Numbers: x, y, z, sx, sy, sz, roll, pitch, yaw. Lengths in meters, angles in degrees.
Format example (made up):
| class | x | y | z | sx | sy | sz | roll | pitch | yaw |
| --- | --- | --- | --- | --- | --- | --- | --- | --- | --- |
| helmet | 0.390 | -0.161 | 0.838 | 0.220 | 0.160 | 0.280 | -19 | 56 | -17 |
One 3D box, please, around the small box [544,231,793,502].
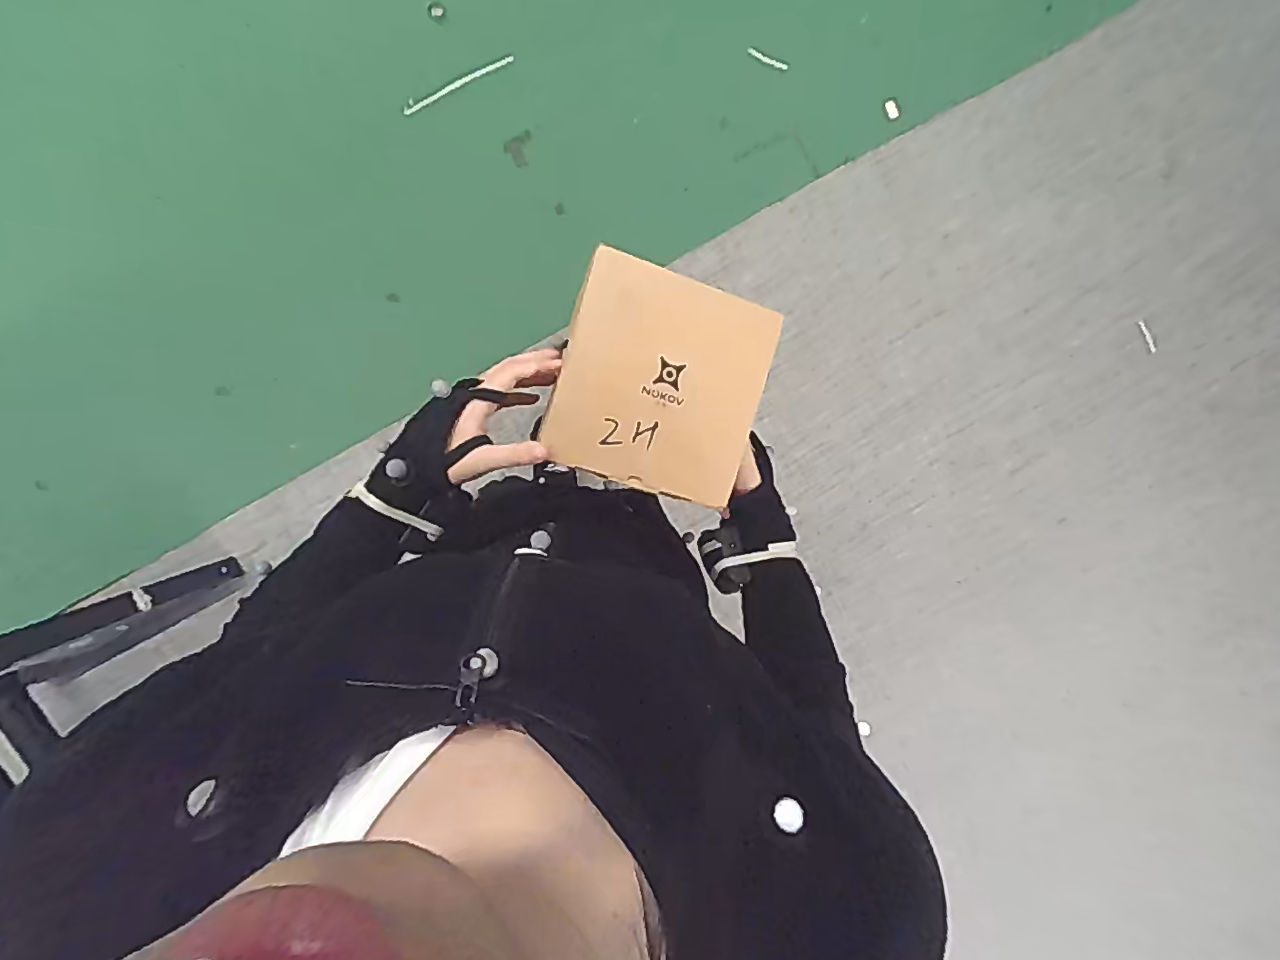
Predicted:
| class | x | y | z | sx | sy | sz | roll | pitch | yaw |
| --- | --- | --- | --- | --- | --- | --- | --- | --- | --- |
| small box | 0.011 | -0.093 | 0.507 | 0.168 | 0.176 | 0.179 | 16 | 92 | -13 |
